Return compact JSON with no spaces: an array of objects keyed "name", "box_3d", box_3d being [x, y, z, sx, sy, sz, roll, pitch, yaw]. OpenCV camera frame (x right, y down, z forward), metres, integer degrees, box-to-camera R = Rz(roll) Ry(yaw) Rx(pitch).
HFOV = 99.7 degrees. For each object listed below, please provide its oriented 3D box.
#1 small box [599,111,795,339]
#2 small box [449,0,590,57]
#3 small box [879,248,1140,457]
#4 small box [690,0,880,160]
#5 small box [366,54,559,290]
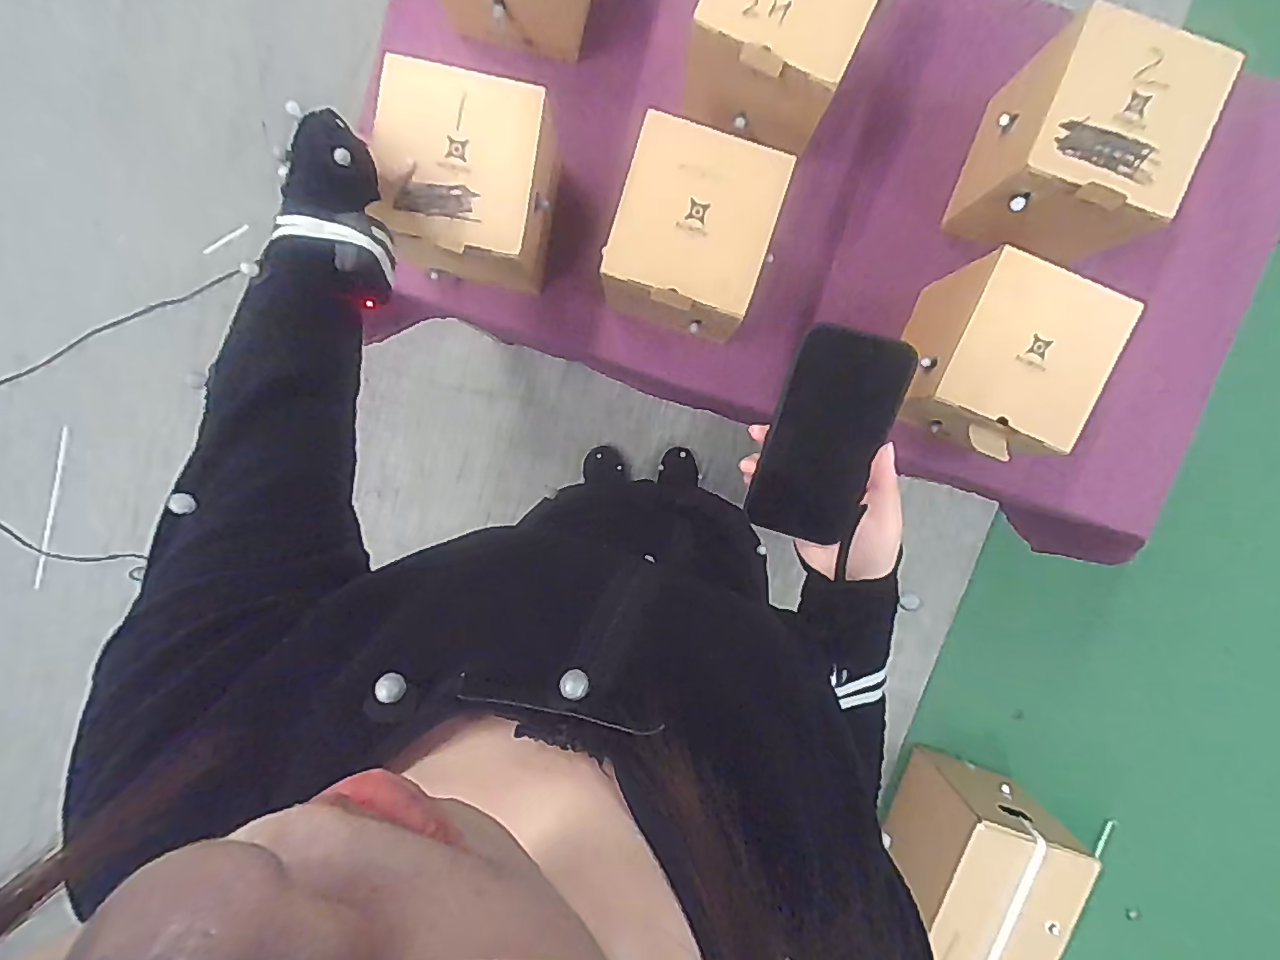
[{"name":"small box","box_3d":[0.061,-0.284,0.650,0.168,0.176,0.179,18,95,-2]},{"name":"small box","box_3d":[-0.140,-0.637,0.615,0.168,0.176,0.179,14,97,-1]},{"name":"small box","box_3d":[0.424,-0.143,0.657,0.168,0.176,0.179,23,96,-1]},{"name":"small box","box_3d":[0.165,-0.518,0.622,0.168,0.176,0.179,25,96,-1]},{"name":"small box","box_3d":[-0.196,-0.343,0.641,0.168,0.176,0.179,11,95,-4]}]
